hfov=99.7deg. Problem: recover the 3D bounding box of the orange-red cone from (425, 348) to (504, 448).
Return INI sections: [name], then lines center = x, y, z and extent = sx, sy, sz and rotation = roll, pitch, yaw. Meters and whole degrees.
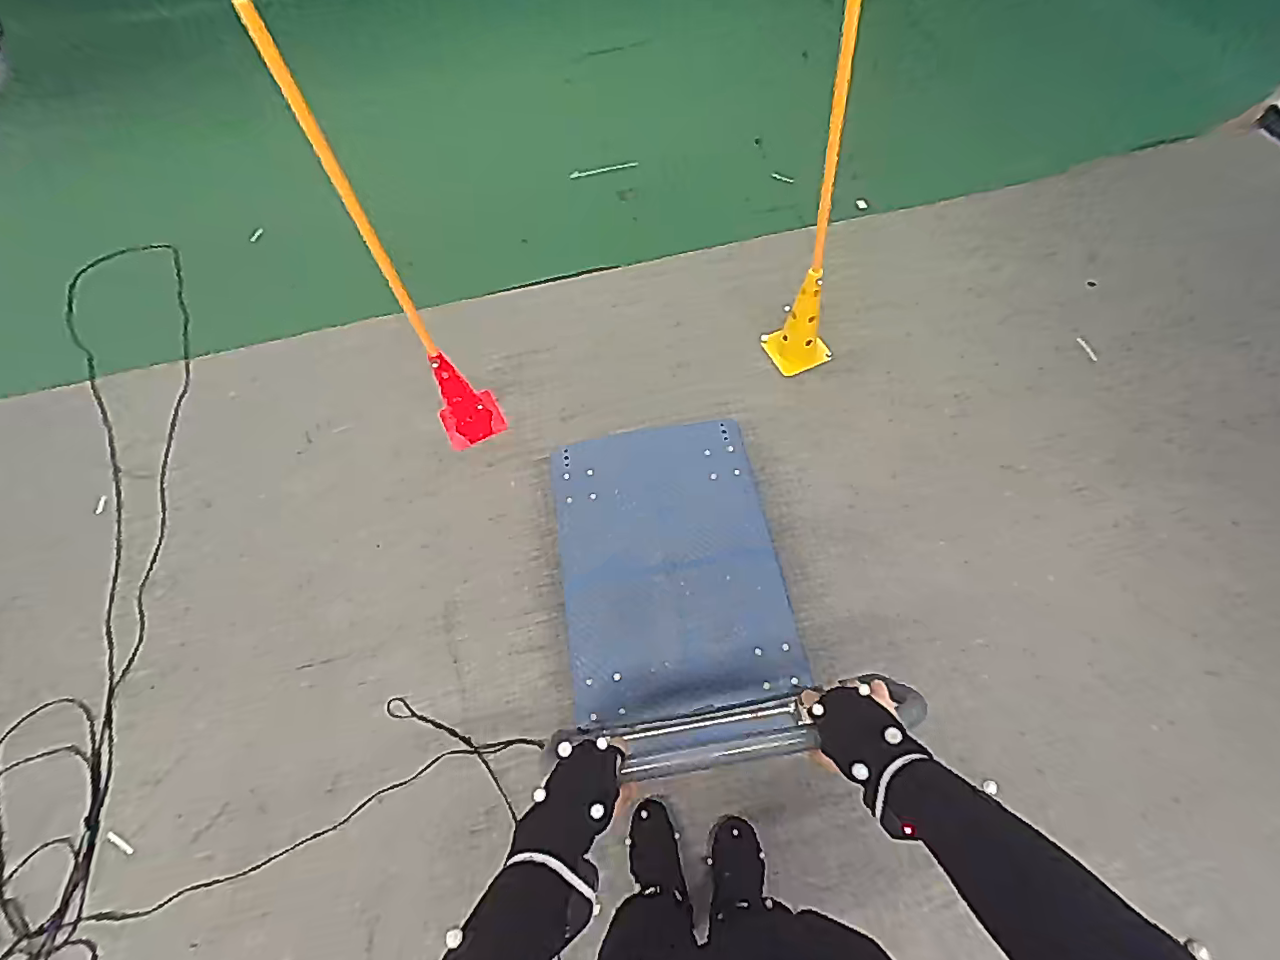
[orange-red cone]
center = -0.606, -0.294, 1.747
extent = 0.199, 0.360, 0.198
rotation = -27, 63, -8
